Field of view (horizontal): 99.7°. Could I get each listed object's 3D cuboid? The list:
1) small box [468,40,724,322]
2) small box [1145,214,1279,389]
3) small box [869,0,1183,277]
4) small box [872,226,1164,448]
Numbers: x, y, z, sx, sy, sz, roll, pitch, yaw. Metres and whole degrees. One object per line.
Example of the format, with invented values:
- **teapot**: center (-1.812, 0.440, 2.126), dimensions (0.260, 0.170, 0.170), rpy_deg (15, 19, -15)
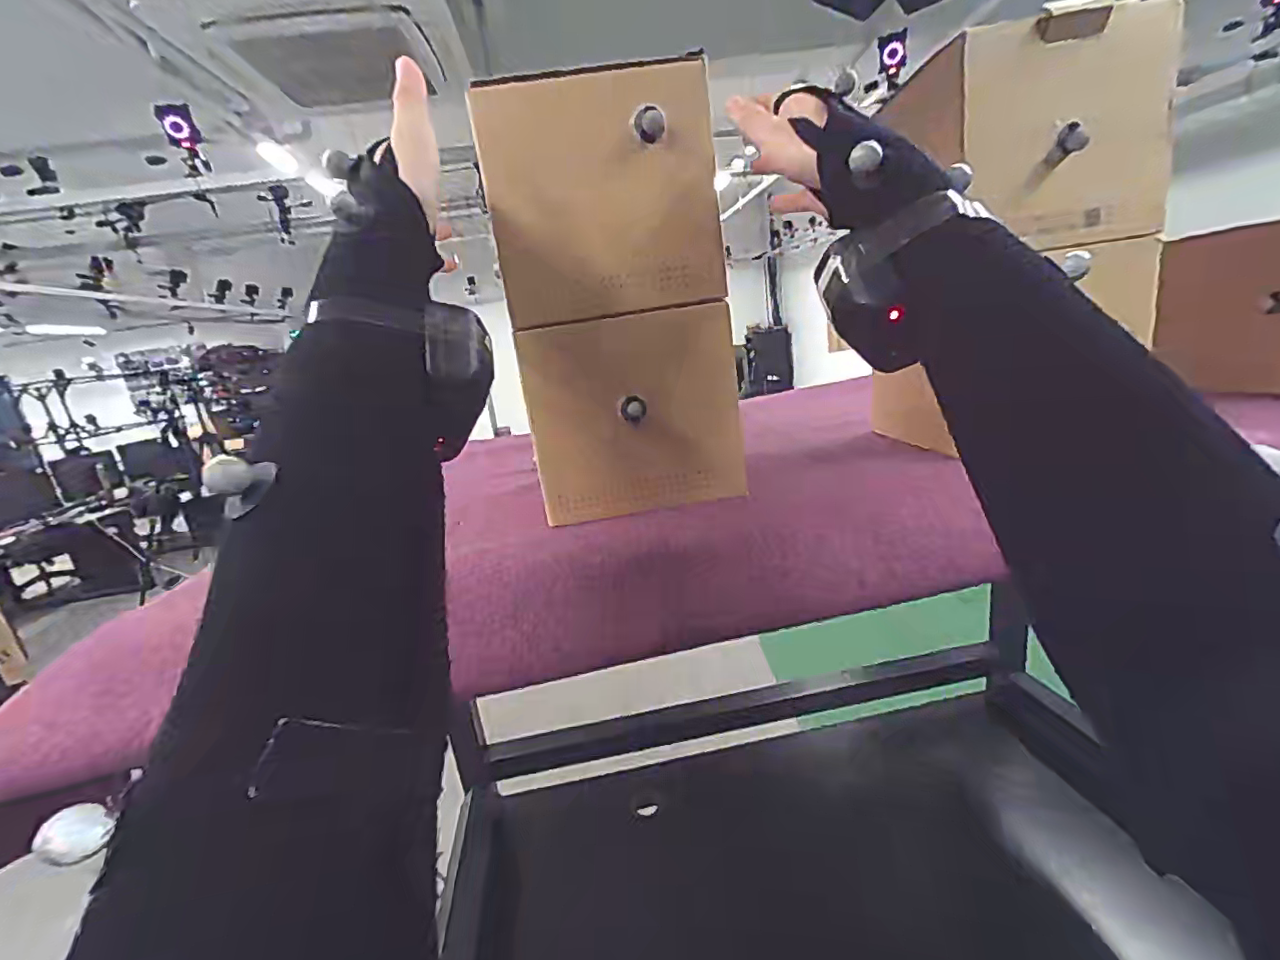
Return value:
- **small box**: center (-0.028, -0.237, 0.472), dimensions (0.179, 0.176, 0.168), rpy_deg (-10, 15, -2)
- **small box**: center (0.684, -0.191, 0.570), dimensions (0.168, 0.176, 0.179), rpy_deg (-10, 13, -7)
- **small box**: center (0.328, -0.289, 0.494), dimensions (0.168, 0.176, 0.179), rpy_deg (-8, 14, 1)
- **small box**: center (0.349, -0.131, 0.532), dimensions (0.168, 0.176, 0.179), rpy_deg (-8, 14, 0)
